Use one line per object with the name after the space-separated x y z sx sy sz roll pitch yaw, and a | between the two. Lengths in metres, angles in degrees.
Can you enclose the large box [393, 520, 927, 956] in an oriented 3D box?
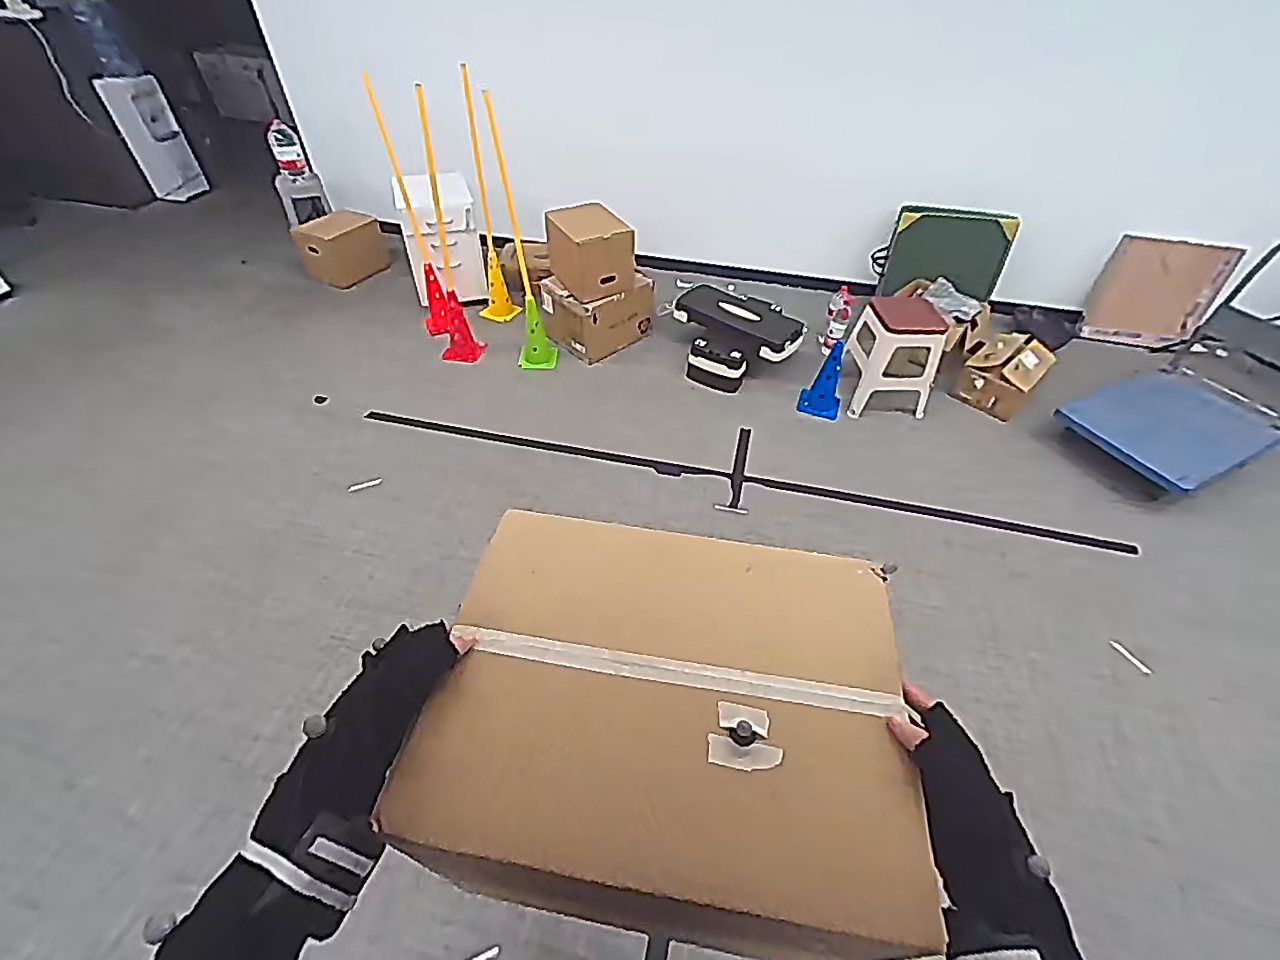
0.024 0.280 0.600 0.408 0.320 0.320 8 47 6 | large box
